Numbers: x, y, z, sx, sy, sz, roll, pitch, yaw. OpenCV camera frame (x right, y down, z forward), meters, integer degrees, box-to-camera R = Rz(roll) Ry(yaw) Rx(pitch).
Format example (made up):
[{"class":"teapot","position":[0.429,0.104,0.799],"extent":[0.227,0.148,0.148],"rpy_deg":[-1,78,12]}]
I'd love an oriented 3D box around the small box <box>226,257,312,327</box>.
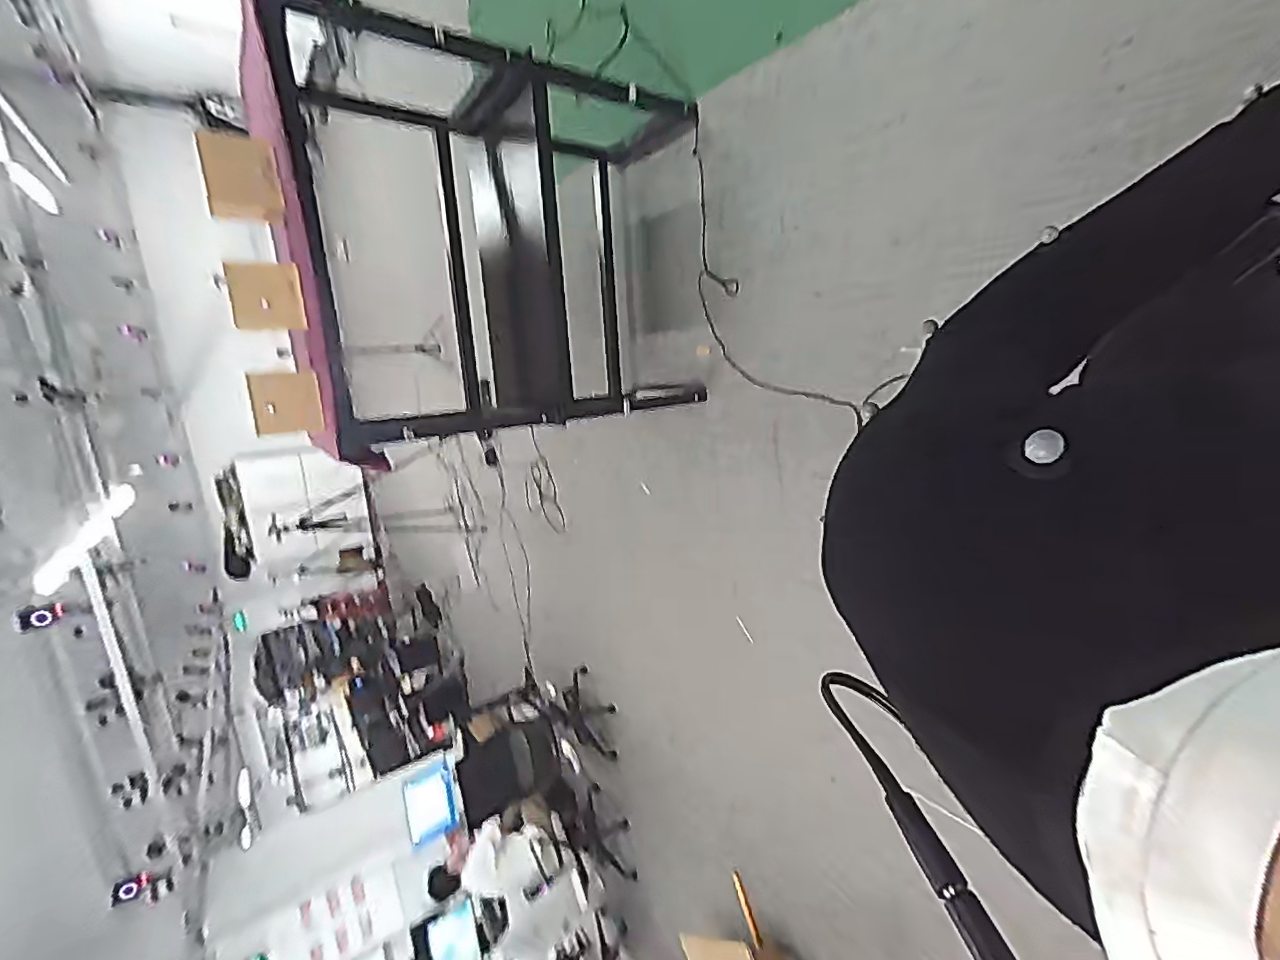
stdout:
[{"class":"small box","position":[-1.017,-0.513,1.490],"extent":[0.179,0.176,0.168],"rpy_deg":[16,113,54]}]

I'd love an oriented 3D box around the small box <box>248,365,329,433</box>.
[{"class":"small box","position":[-1.008,-0.238,1.555],"extent":[0.168,0.176,0.179],"rpy_deg":[15,111,53]}]
